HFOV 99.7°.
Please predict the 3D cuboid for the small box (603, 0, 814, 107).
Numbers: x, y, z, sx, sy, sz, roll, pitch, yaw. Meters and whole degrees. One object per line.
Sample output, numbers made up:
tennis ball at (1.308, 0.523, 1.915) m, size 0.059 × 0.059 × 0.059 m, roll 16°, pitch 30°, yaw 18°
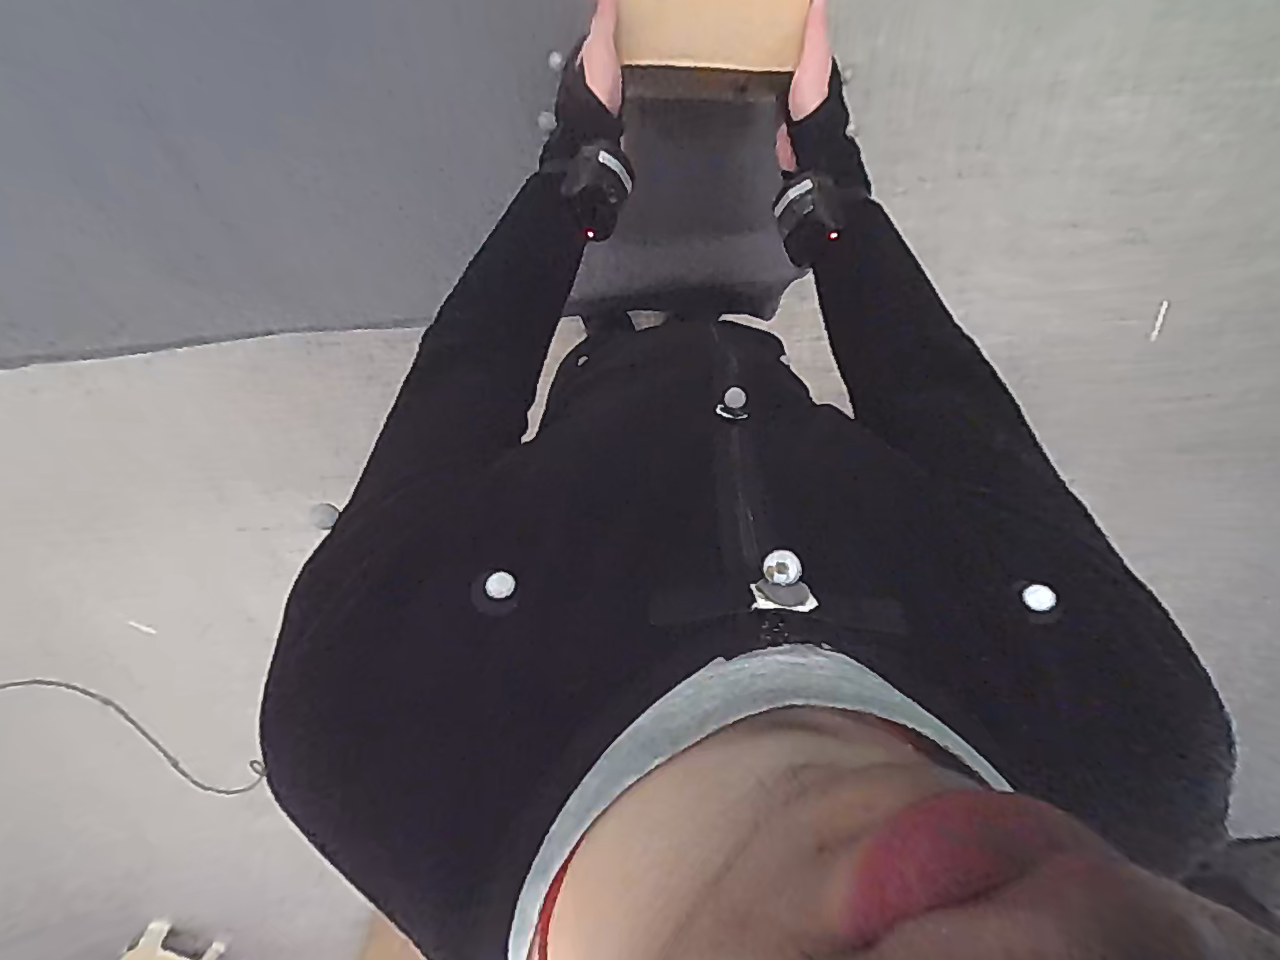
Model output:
small box at (0.060, -0.461, 0.504) m, size 0.179 × 0.176 × 0.168 m, roll 2°, pitch 116°, yaw 2°
